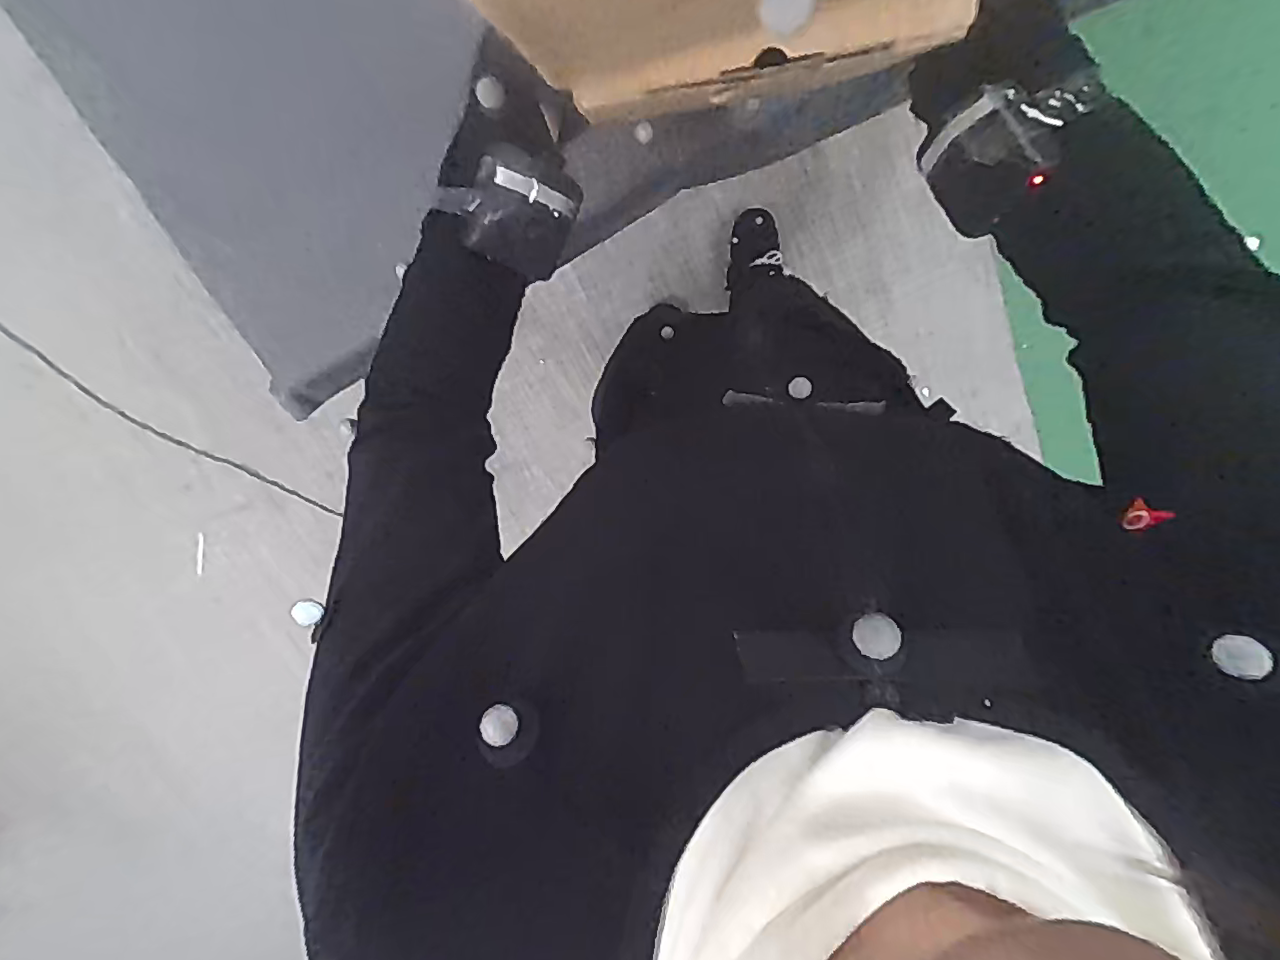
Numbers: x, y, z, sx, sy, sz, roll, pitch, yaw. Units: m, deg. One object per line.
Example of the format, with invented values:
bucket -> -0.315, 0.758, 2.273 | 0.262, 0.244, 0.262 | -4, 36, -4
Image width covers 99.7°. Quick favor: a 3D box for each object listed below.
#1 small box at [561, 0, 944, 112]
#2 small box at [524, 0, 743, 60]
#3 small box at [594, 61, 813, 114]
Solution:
small box -> 0.031, -0.295, 0.257 | 0.168, 0.176, 0.179 | -11, 122, 6
small box -> 0.024, -0.224, 0.111 | 0.179, 0.176, 0.168 | -16, 118, 7
small box -> 0.029, -0.383, 0.395 | 0.179, 0.176, 0.168 | -8, 120, 5
